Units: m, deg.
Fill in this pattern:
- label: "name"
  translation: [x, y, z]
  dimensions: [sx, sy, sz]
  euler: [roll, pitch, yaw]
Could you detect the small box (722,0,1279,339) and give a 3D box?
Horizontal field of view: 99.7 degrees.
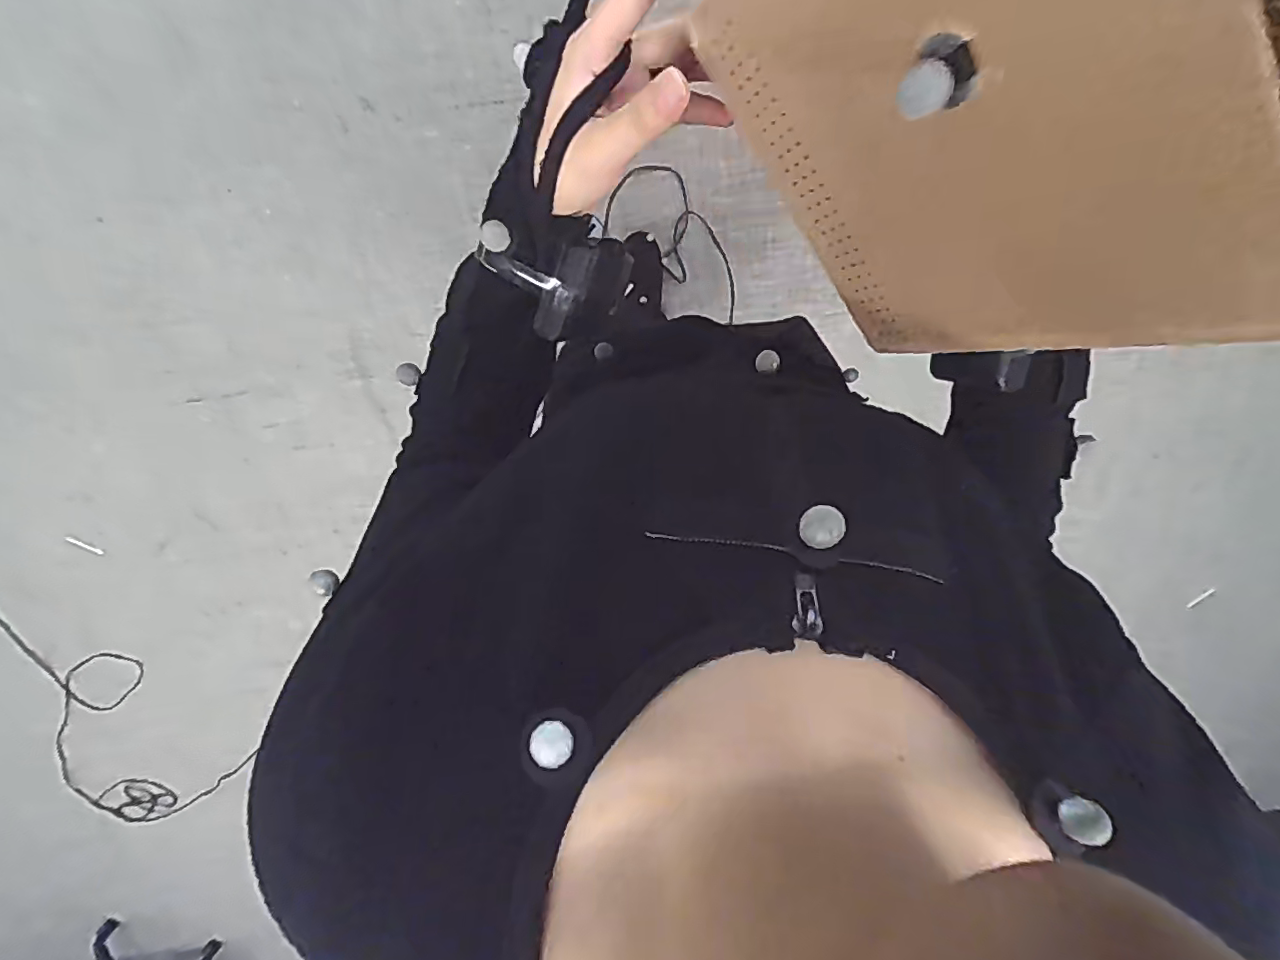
- label: "small box"
  translation: [0.160, -0.168, 0.193]
  dimensions: [0.168, 0.176, 0.179]
  euler: [-42, 109, -3]
